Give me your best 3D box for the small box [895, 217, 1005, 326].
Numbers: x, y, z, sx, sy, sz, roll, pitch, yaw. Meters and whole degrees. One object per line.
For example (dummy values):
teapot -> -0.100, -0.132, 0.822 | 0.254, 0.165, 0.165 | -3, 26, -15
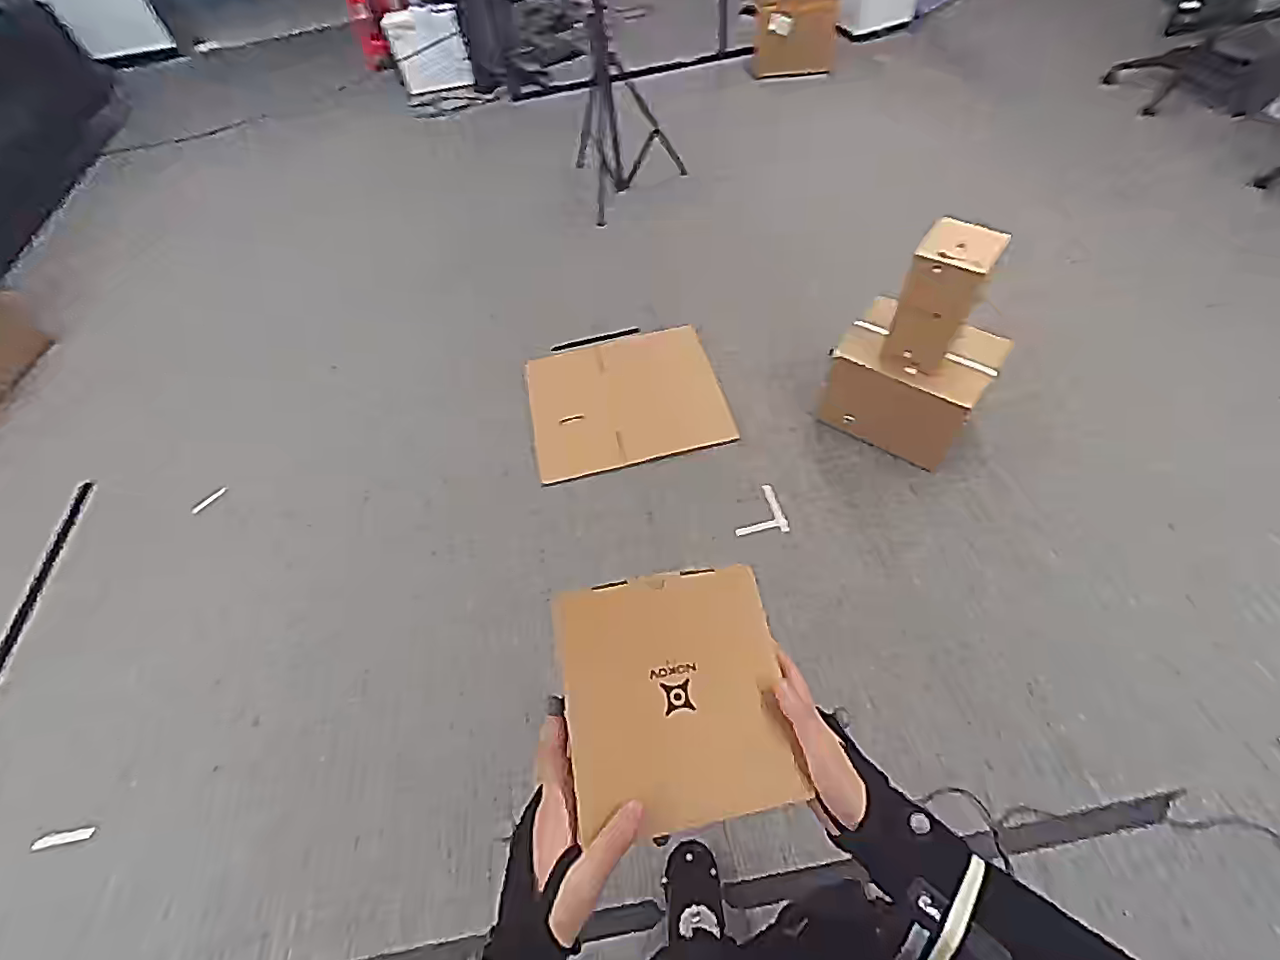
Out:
small box -> 0.775, -0.525, 1.368 | 0.168, 0.176, 0.179 | 30, 64, 24

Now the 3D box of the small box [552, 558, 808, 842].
small box -> 0.018, 0.186, 0.470 | 0.168, 0.176, 0.179 | -7, 63, -10

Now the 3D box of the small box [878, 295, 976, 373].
small box -> 0.790, -0.433, 1.503 | 0.168, 0.176, 0.179 | 30, 65, 24
